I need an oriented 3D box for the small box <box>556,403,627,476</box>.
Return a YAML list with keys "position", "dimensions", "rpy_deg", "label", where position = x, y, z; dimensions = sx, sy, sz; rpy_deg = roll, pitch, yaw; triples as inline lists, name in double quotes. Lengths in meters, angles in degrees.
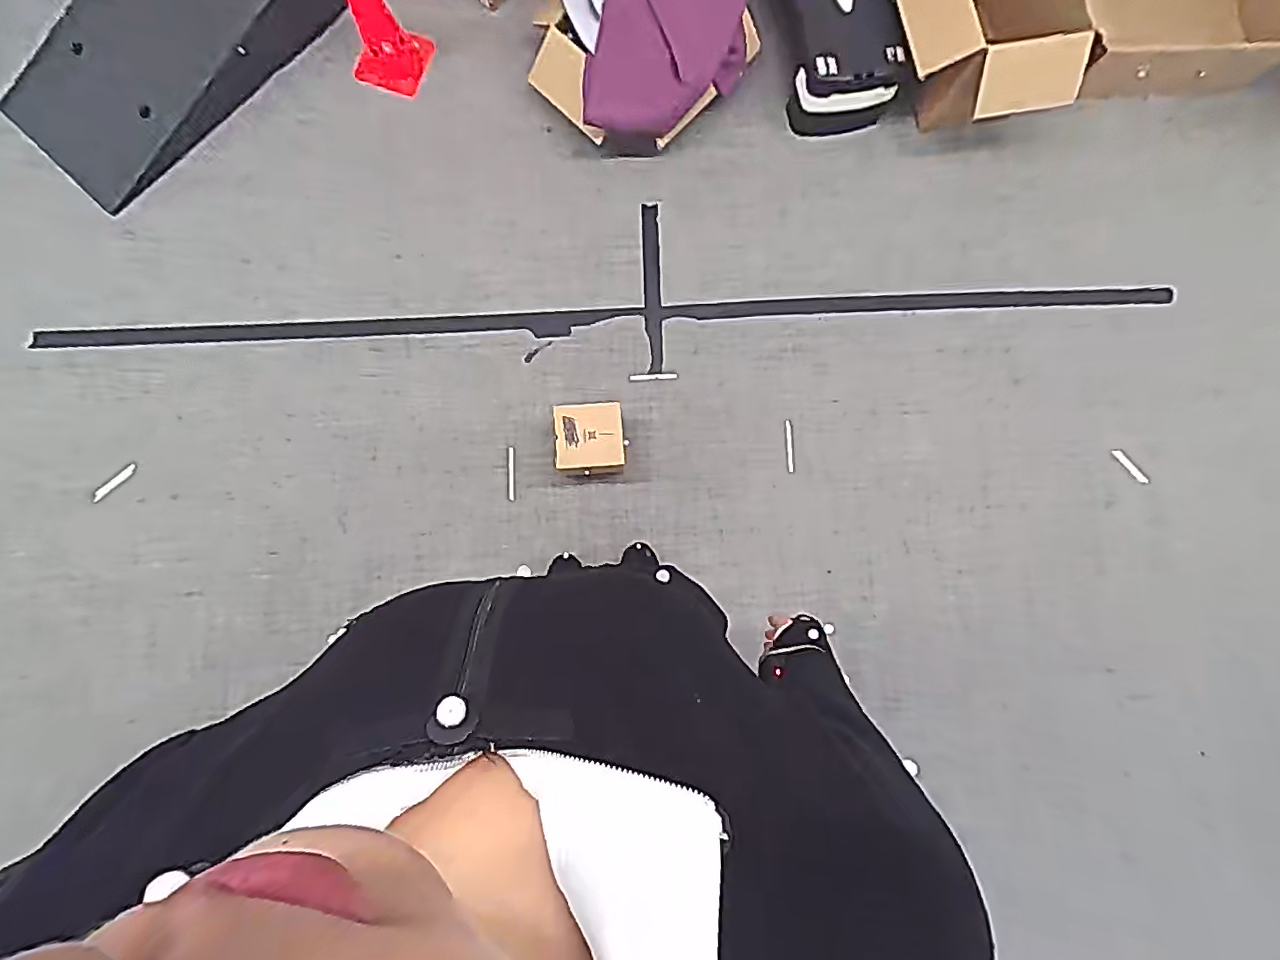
- position: [-0.128, -0.104, 1.465]
  dimensions: [0.179, 0.176, 0.168]
  rpy_deg: [-4, 84, -2]
  label: "small box"
